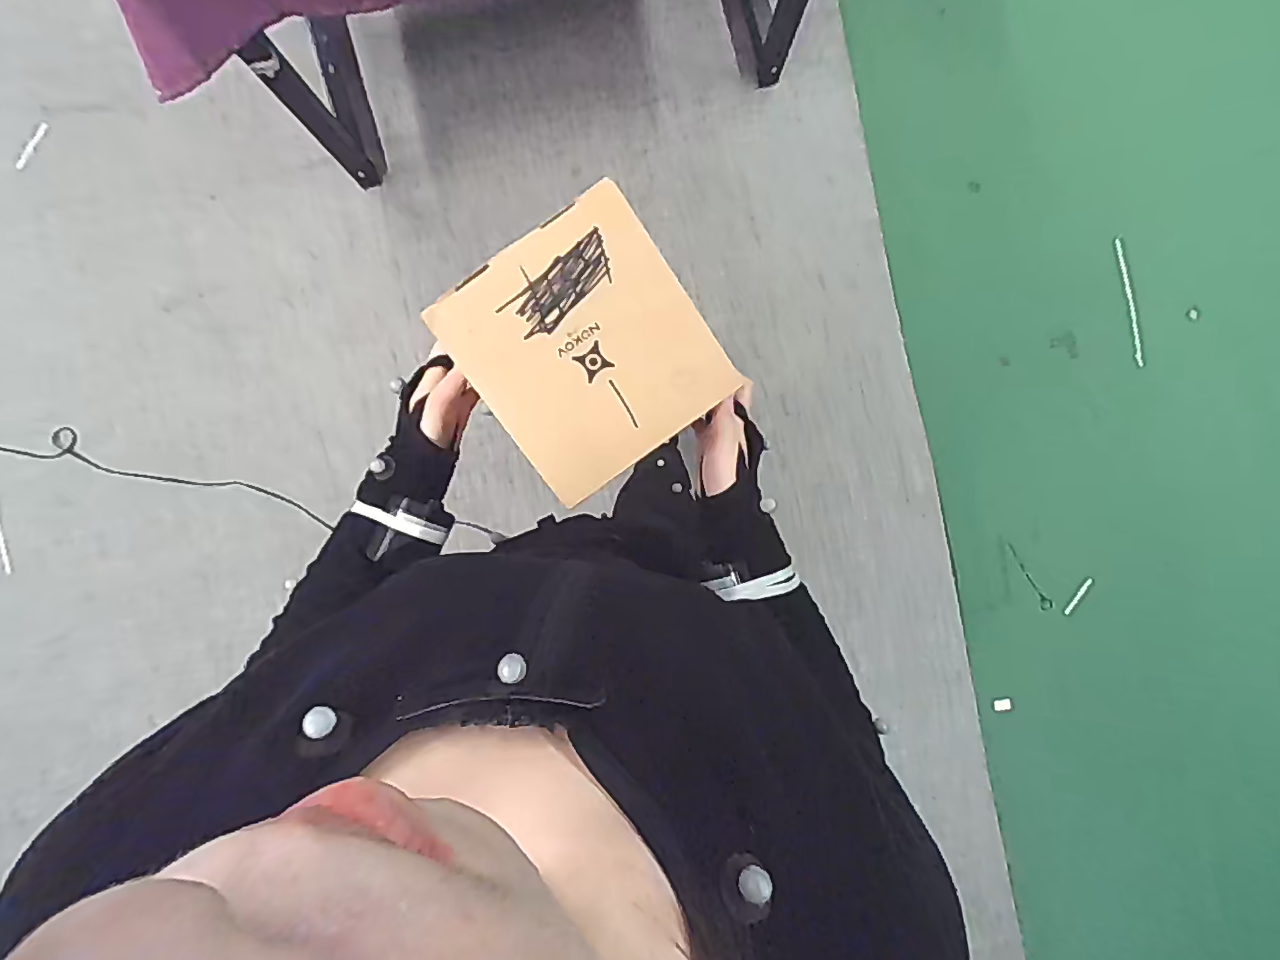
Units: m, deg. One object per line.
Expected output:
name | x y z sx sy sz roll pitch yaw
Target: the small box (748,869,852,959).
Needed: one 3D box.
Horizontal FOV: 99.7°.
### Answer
small box | 0.335 0.970 1.133 0.168 0.176 0.179 -9 93 -2
